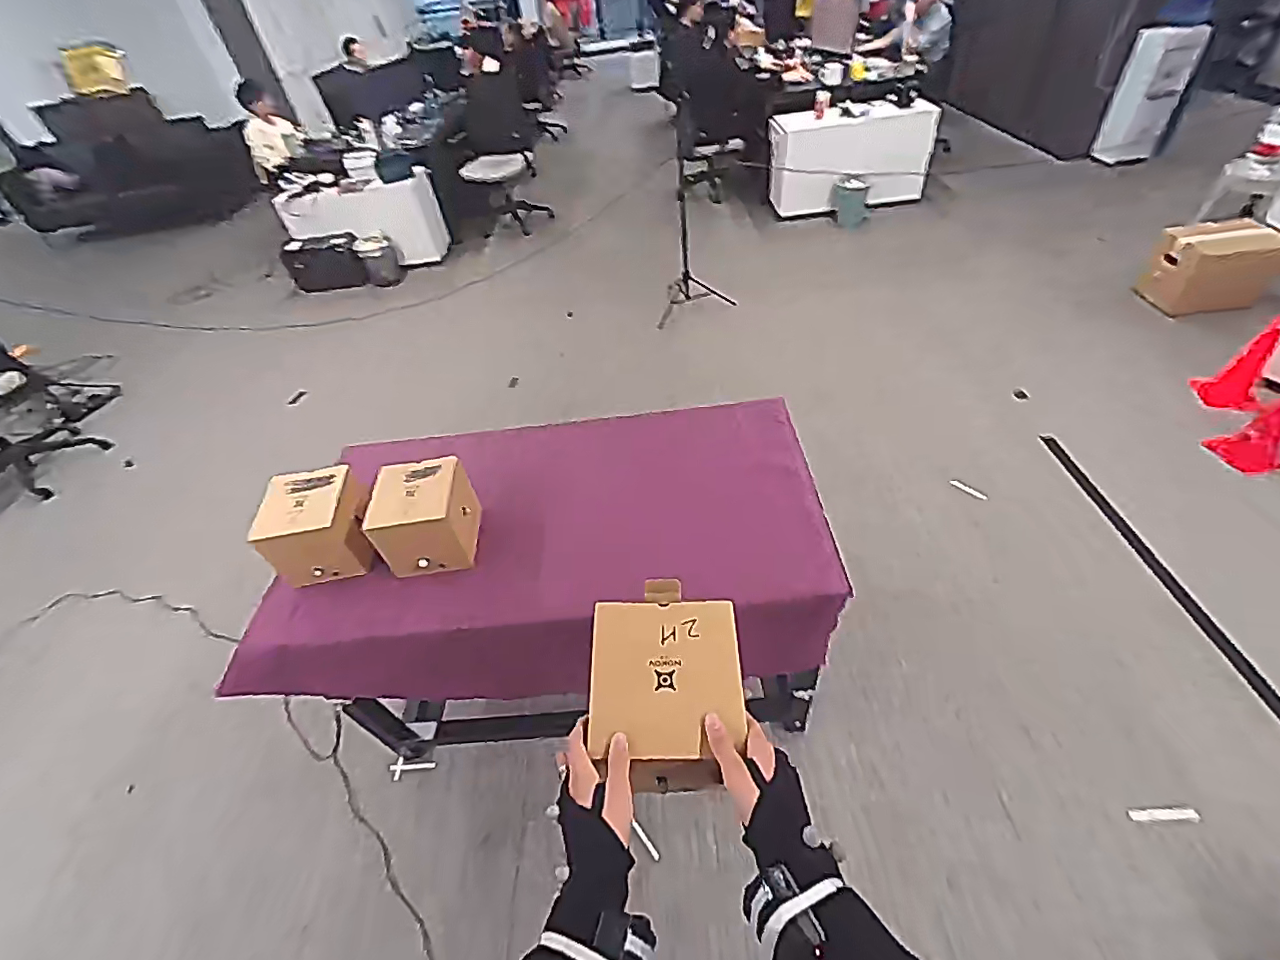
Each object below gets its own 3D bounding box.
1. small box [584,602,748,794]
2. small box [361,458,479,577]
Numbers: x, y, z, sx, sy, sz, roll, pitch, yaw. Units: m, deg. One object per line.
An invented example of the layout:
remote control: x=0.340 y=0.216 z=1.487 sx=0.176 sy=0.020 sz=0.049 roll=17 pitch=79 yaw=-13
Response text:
small box: x=0.031 y=0.263 z=0.642 sx=0.168 sy=0.176 sz=0.179 roll=-1 pitch=50 yaw=2
small box: x=-0.452 y=0.080 z=1.144 sx=0.168 sy=0.176 sz=0.179 roll=-9 pitch=46 yaw=1
